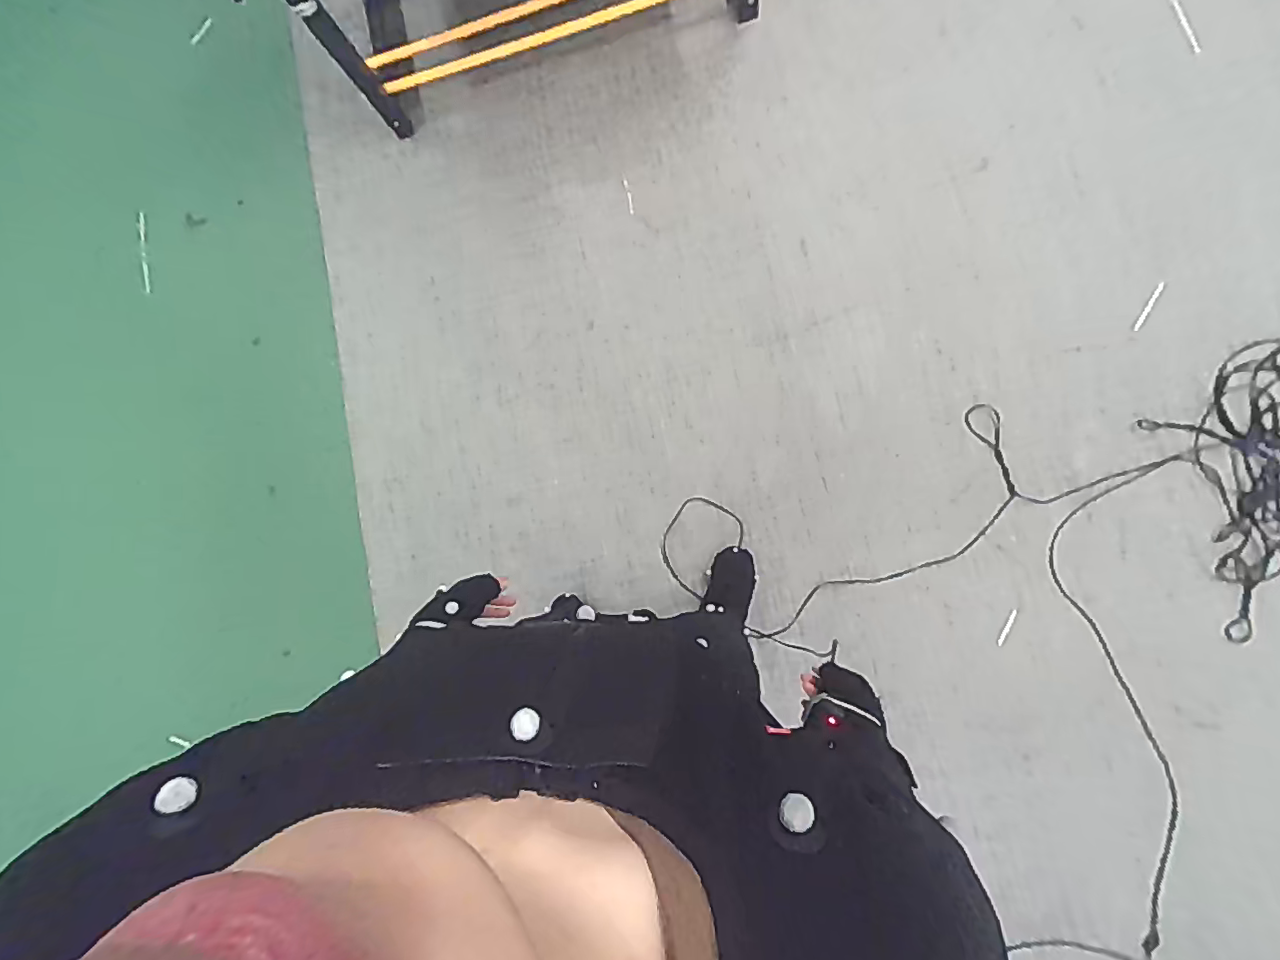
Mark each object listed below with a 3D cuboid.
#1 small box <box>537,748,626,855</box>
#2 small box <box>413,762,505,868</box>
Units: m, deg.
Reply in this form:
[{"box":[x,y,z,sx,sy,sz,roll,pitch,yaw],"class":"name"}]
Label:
[{"box":[-0.142,0.790,1.350,0.168,0.176,0.179,-14,82,7],"class":"small box"},{"box":[-0.459,0.855,1.391,0.168,0.176,0.179,-10,81,7],"class":"small box"}]
